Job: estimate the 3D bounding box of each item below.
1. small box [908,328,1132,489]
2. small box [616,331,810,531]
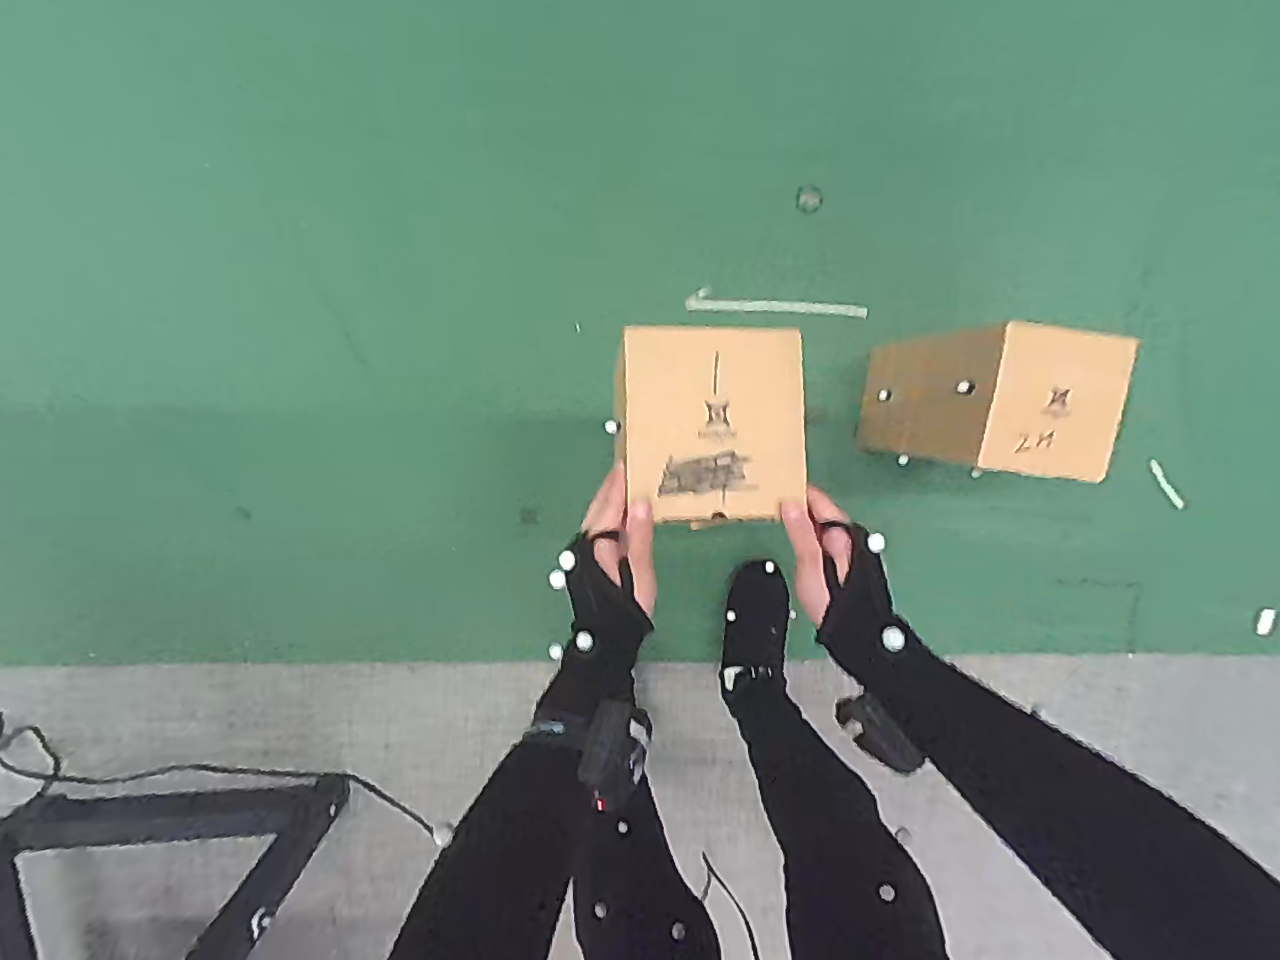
[{"bbox_3d":[0.492,-0.095,0.729,0.168,0.176,0.179,7,98,-4],"label":"small box"},{"bbox_3d":[0.063,-0.040,0.556,0.168,0.176,0.179,0,86,-6],"label":"small box"}]
